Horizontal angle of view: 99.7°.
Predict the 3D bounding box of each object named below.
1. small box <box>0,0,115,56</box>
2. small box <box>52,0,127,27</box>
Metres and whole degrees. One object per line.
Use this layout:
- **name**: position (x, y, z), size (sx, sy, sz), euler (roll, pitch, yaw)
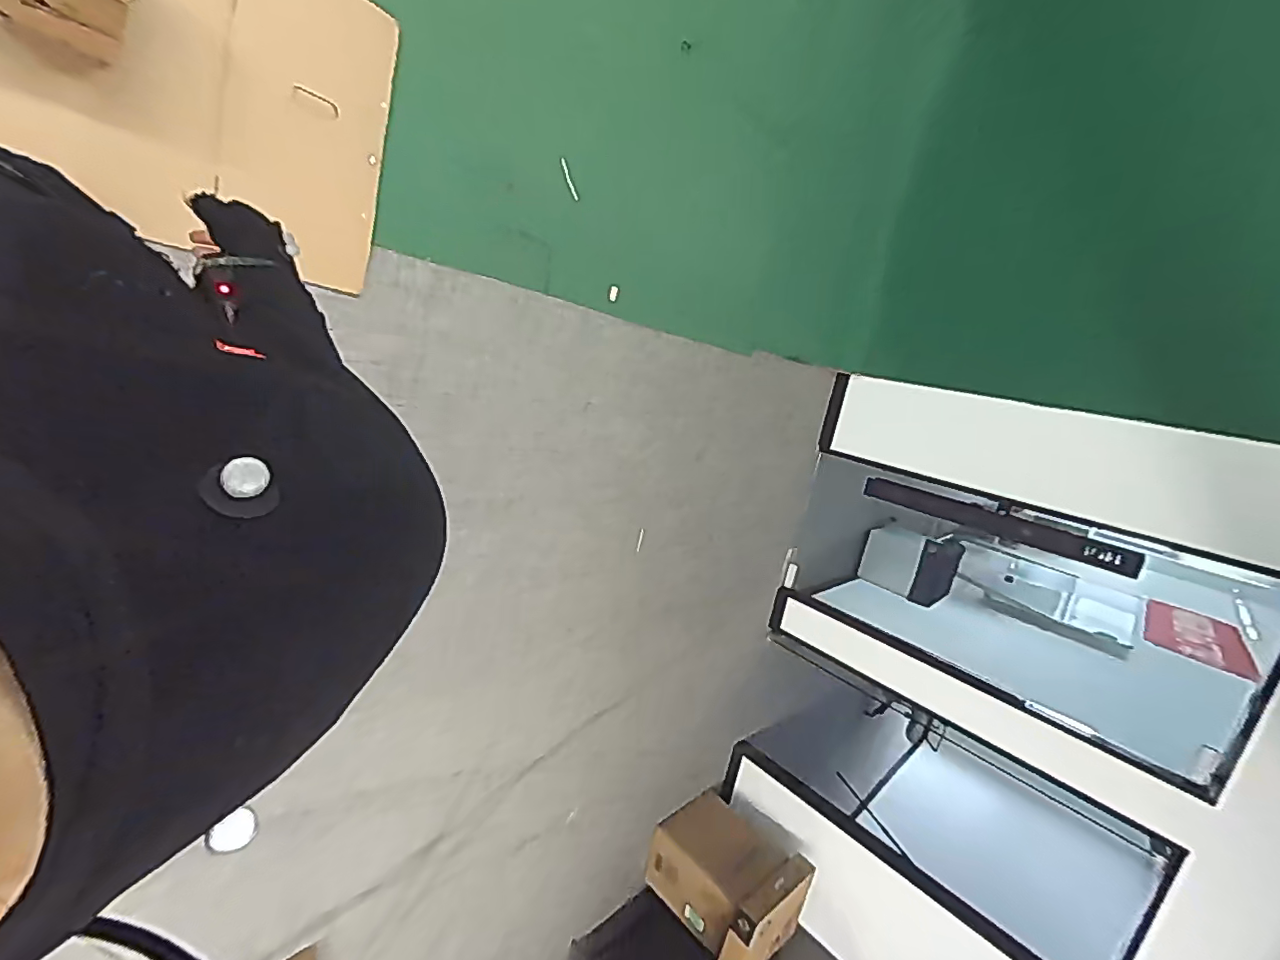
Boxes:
- **small box**: position (-0.900, -0.790, 0.812), size (0.168, 0.176, 0.179), euler (5, 102, -47)
- **small box**: position (-0.780, -0.755, 0.707), size (0.168, 0.176, 0.179), euler (6, 102, -48)
